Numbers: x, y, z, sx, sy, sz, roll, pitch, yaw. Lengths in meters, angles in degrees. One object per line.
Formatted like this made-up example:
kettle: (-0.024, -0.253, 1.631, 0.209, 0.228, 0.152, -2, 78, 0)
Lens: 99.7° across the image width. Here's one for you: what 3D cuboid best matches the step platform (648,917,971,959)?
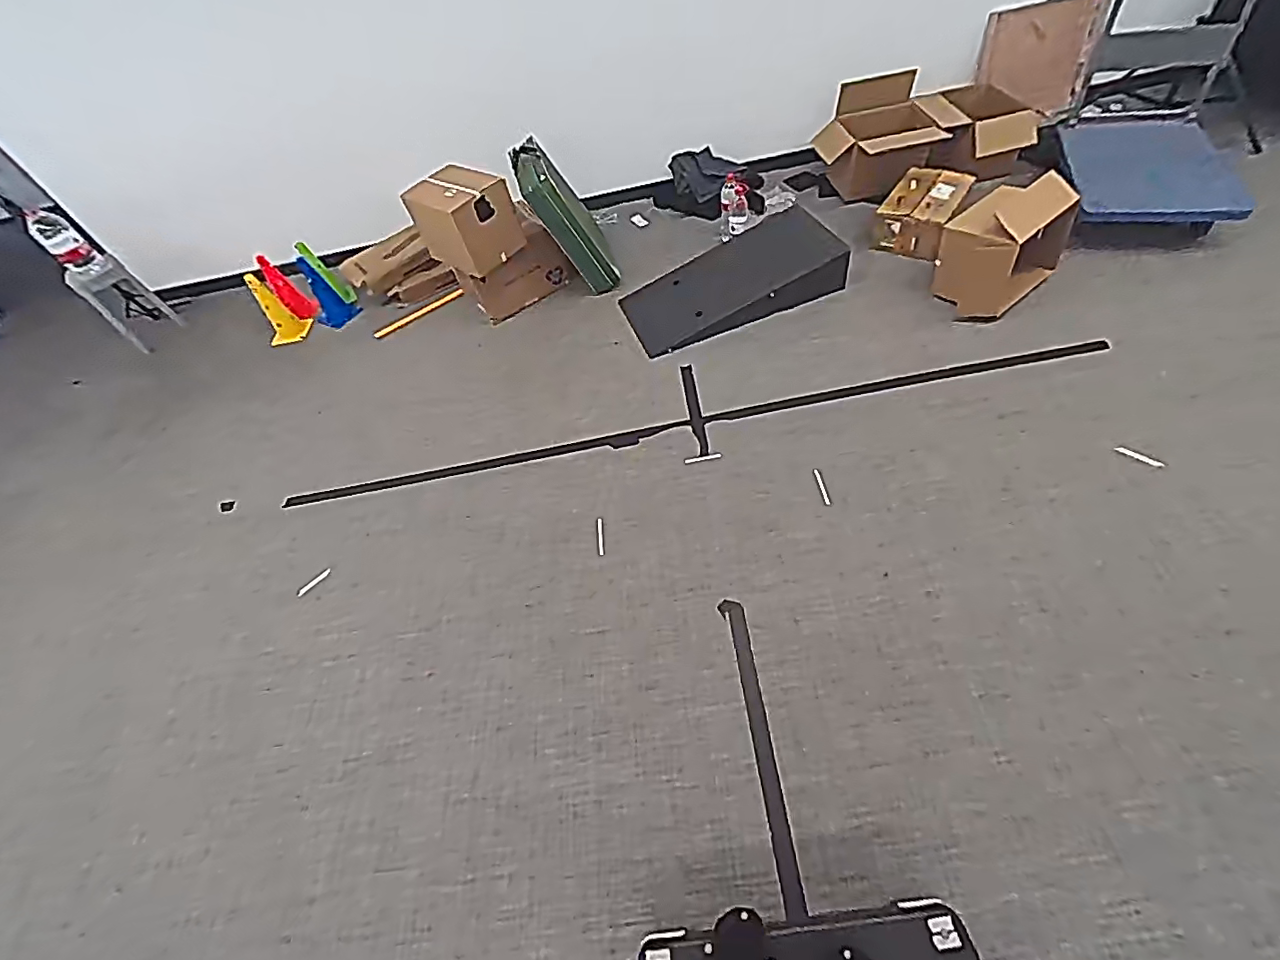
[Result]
step platform: (0.333, 1.083, 1.060, 0.684, 0.204, 0.286, -11, 52, 2)
